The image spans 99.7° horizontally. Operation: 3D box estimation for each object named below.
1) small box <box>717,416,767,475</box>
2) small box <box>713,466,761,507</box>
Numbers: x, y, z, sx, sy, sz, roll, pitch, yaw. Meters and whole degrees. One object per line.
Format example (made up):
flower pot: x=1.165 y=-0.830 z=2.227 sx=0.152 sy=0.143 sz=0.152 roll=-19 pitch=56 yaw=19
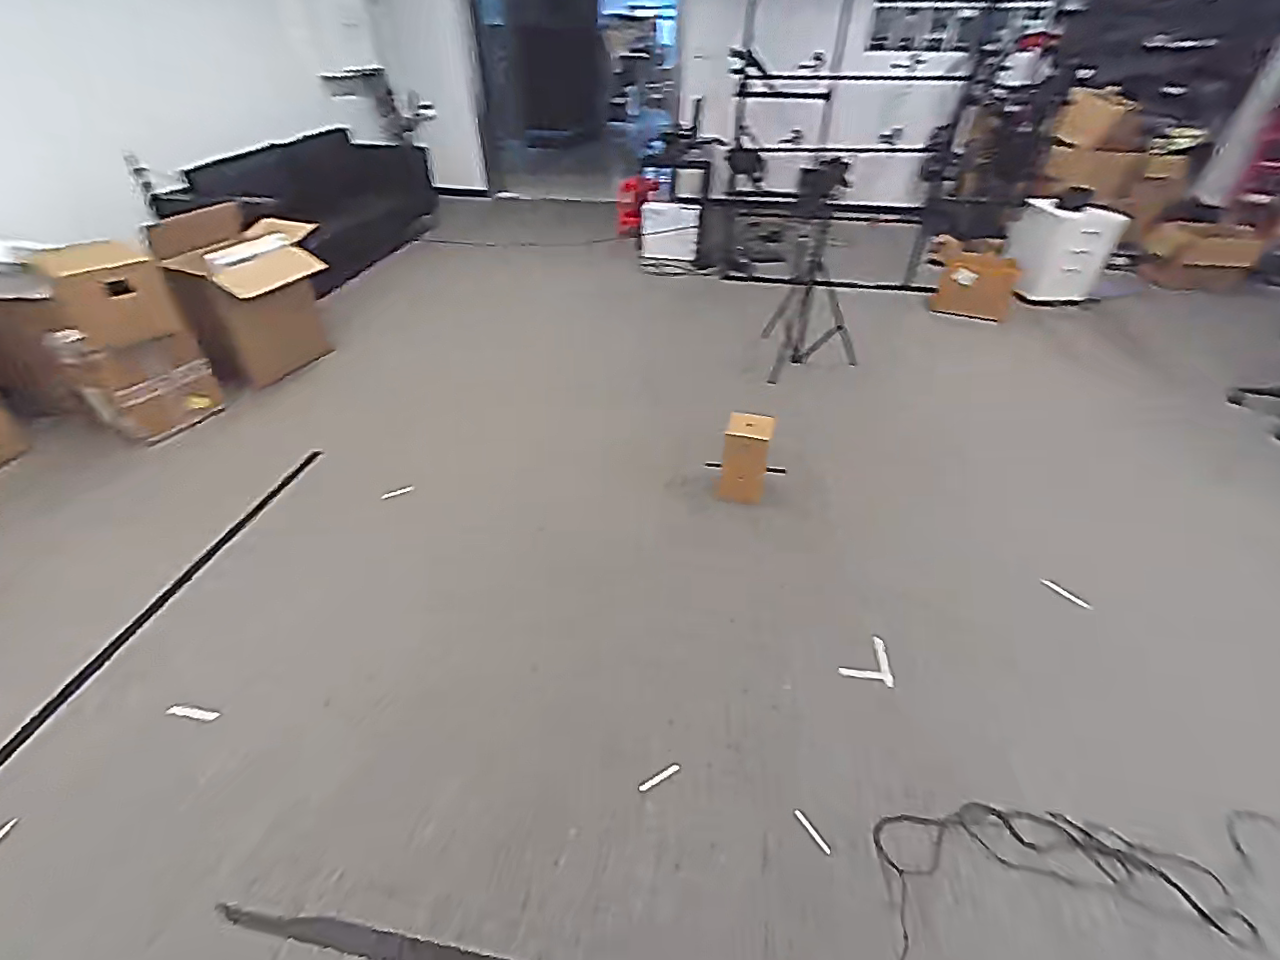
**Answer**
small box: x=0.416 y=-0.138 z=2.213 sx=0.179 sy=0.176 sz=0.168 roll=10 pitch=41 yaw=13
small box: x=0.416 y=-0.006 z=2.311 sx=0.179 sy=0.176 sz=0.168 roll=8 pitch=40 yaw=11
